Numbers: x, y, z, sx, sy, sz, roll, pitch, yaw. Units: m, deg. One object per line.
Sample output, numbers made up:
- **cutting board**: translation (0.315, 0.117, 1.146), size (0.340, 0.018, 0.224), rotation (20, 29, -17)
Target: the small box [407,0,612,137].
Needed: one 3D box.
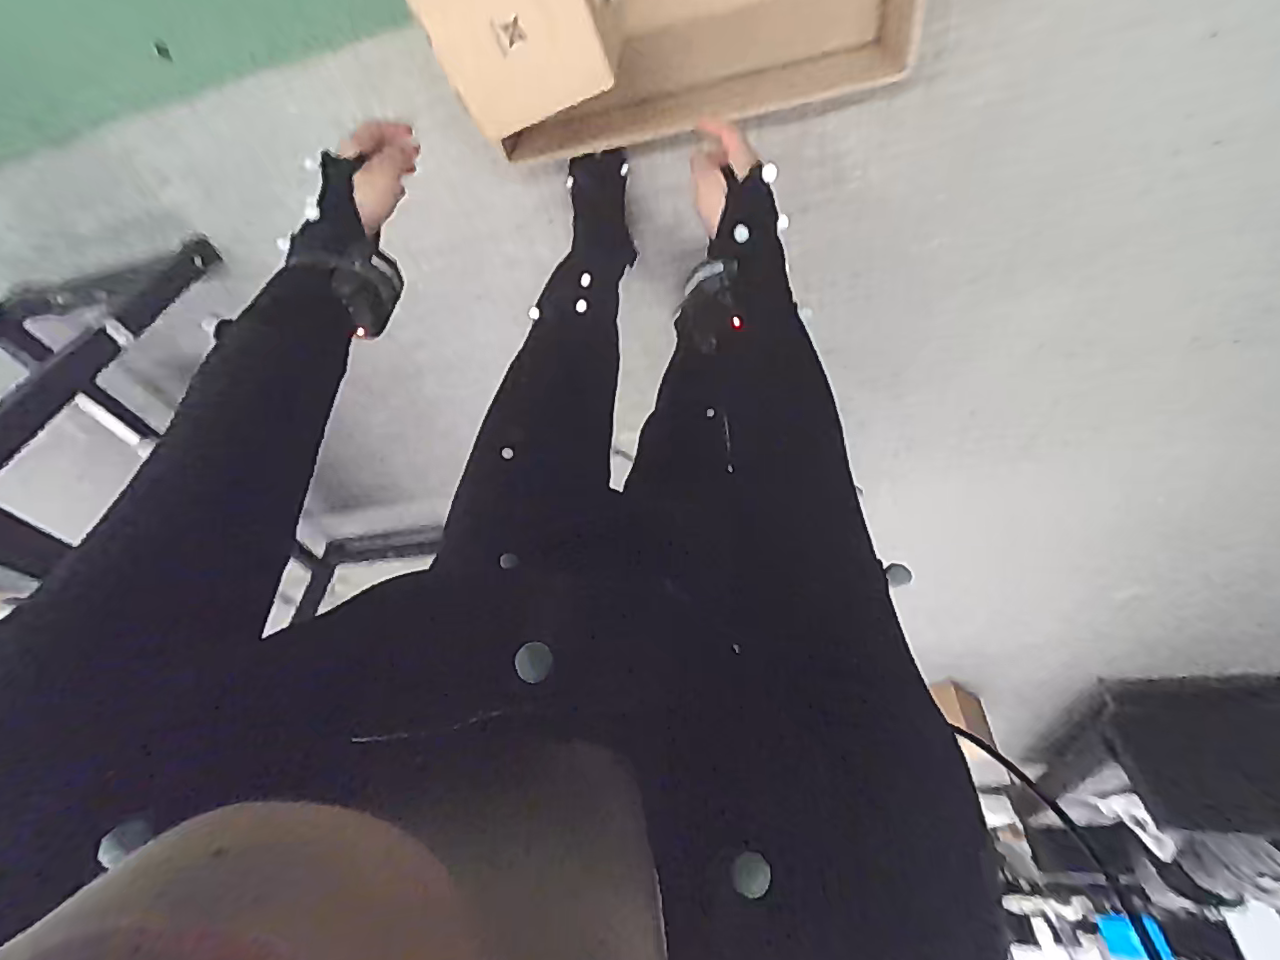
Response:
- **small box**: translation (-0.139, -0.542, 0.623), size (0.179, 0.176, 0.168), rotation (-15, 140, 16)
